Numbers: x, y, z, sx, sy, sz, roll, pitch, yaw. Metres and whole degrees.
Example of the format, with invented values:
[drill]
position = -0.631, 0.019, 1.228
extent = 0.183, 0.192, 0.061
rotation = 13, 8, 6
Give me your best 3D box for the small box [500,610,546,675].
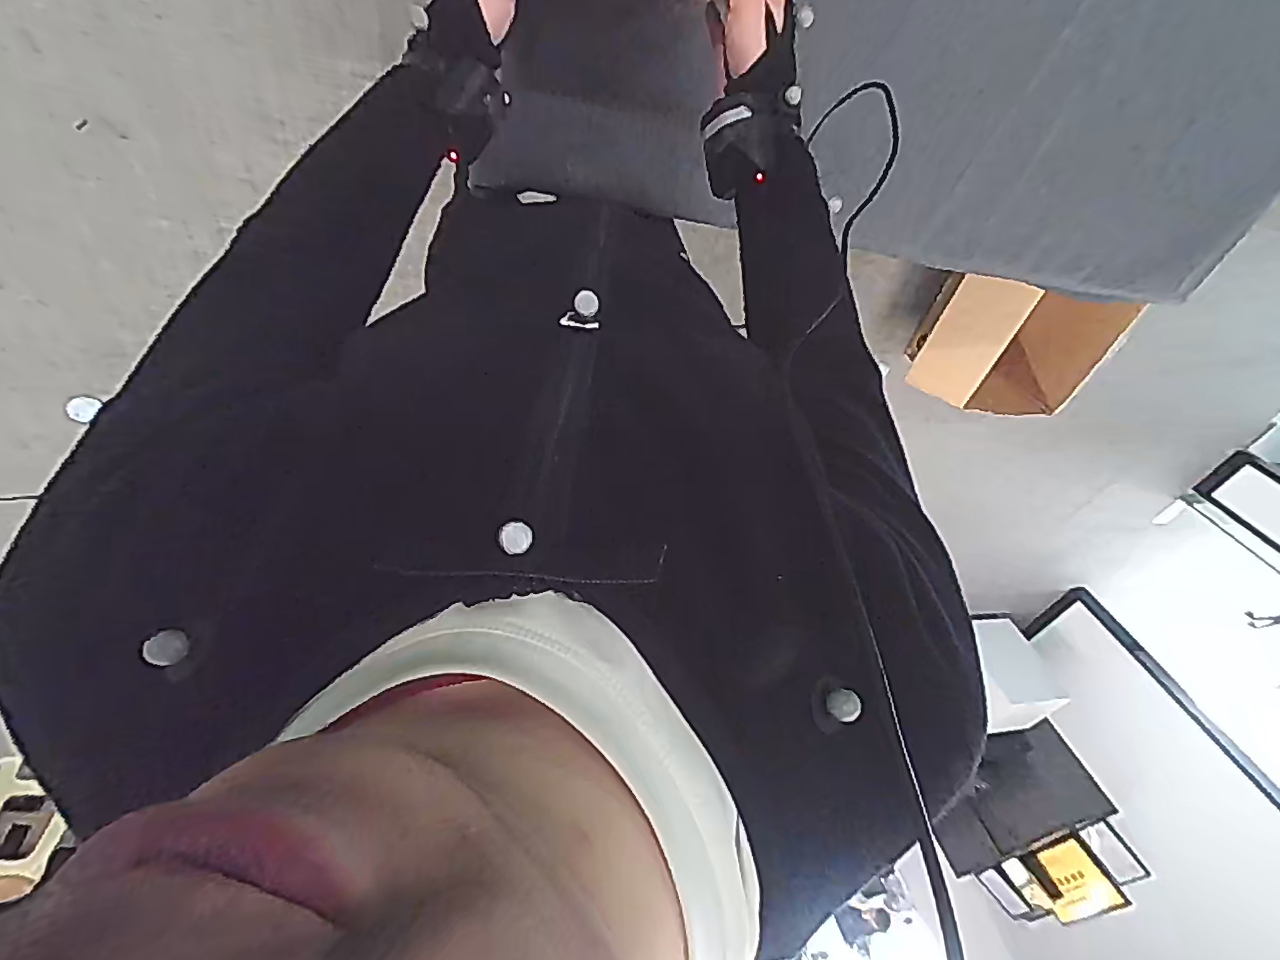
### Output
[small box]
position = -0.455, 0.629, 2.101
extent = 0.168, 0.176, 0.179
rotation = -4, 134, -14
